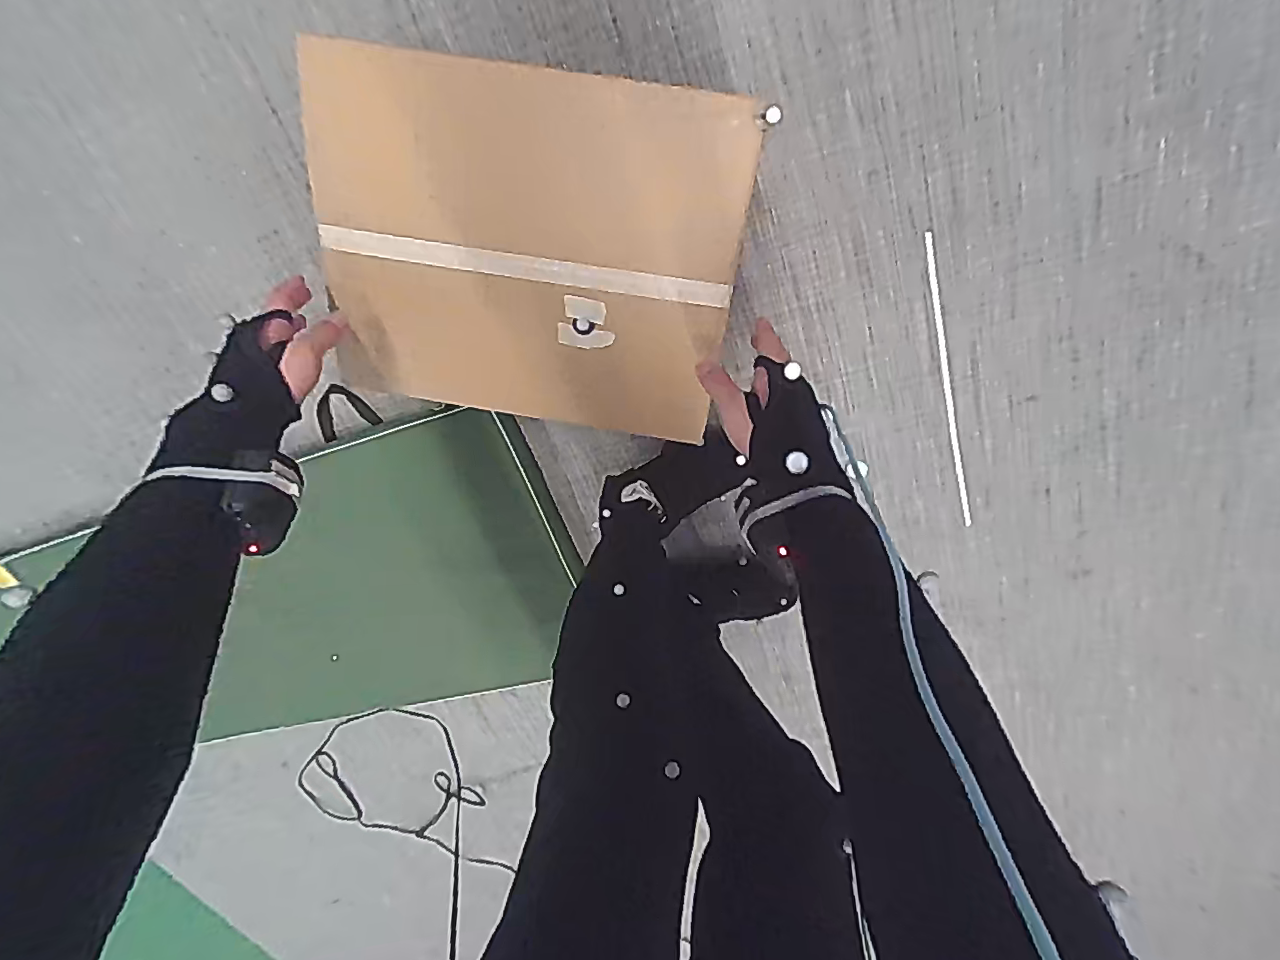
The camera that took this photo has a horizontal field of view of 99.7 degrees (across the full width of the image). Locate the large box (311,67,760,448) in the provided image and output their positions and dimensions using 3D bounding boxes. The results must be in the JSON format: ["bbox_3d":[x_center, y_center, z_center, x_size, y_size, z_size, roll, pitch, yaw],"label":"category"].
[{"bbox_3d":[-0.098,-0.261,0.663,0.408,0.320,0.320,9,118,1],"label":"large box"}]
